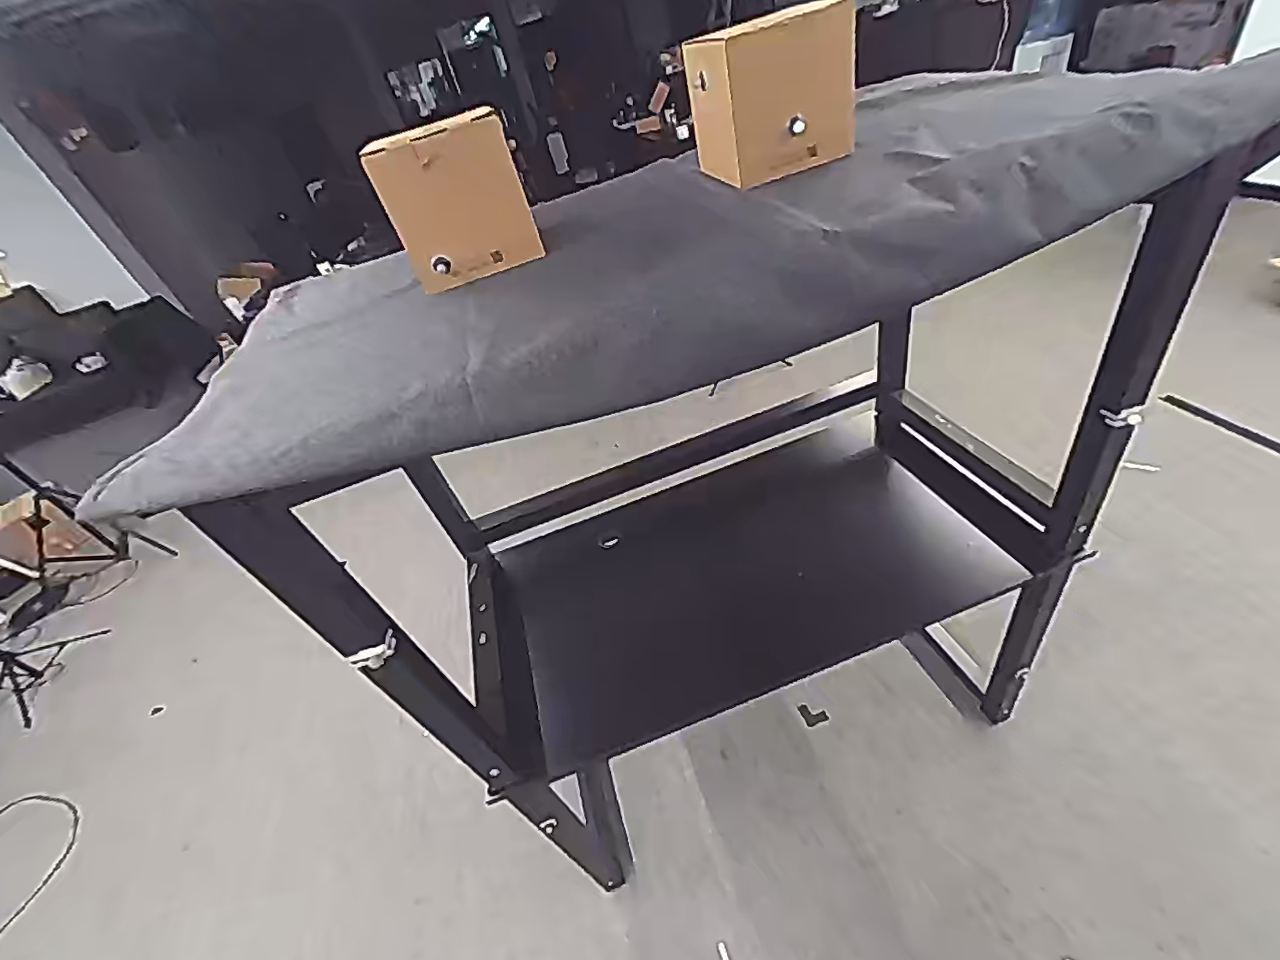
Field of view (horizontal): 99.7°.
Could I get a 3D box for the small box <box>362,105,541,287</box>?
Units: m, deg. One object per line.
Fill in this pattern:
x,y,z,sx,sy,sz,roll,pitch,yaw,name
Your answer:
-0.244,-0.381,0.733,0.168,0.176,0.179,-21,39,-4,small box

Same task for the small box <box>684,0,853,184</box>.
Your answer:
0.174,-0.530,0.749,0.168,0.176,0.179,-20,39,-2,small box
